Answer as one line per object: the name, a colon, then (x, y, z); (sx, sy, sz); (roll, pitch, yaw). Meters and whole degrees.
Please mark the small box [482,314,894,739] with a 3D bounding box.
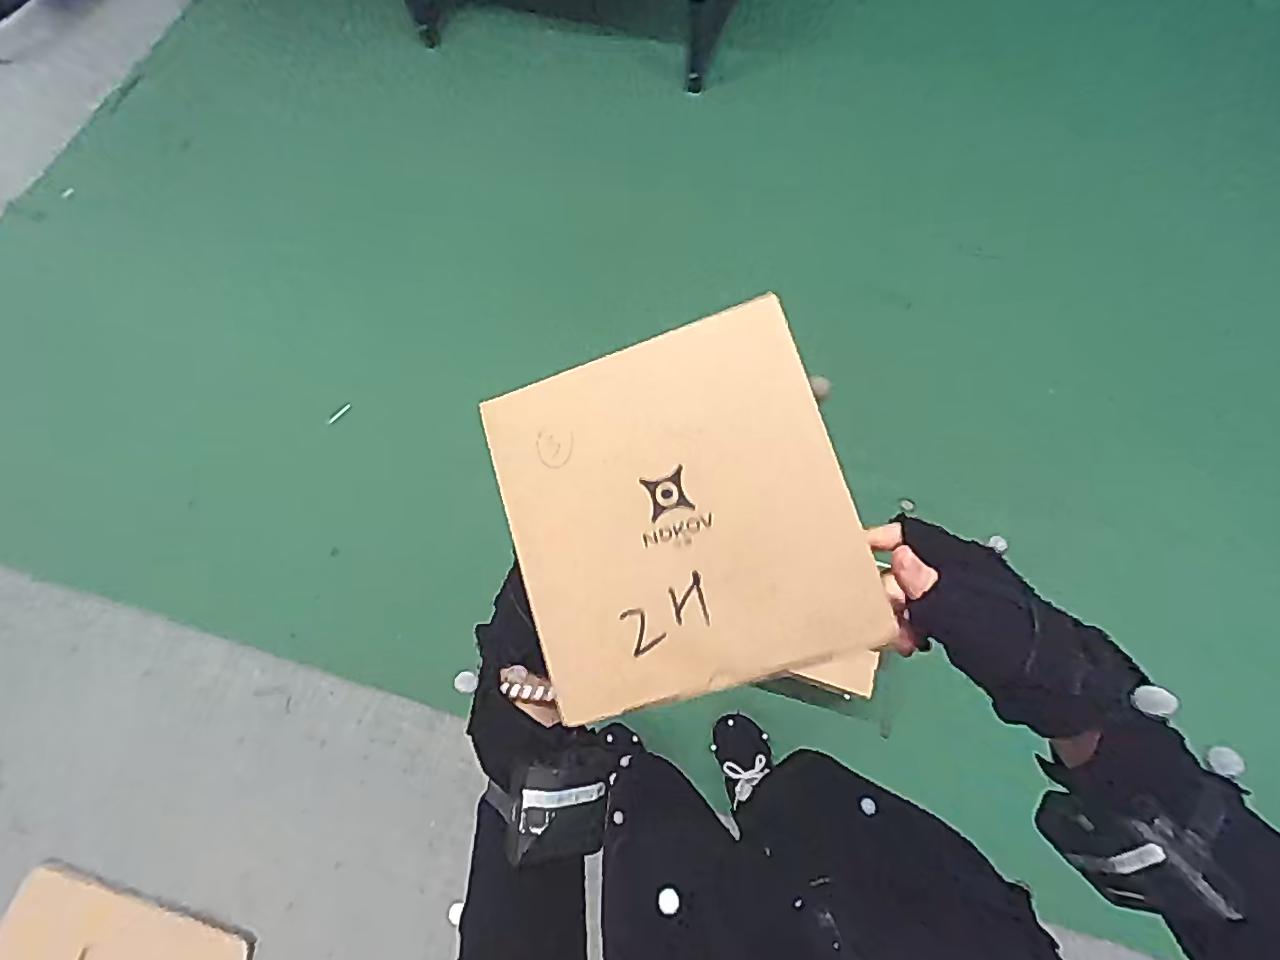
small box: (0.028, 0.029, 0.341); (0.168, 0.176, 0.179); (-17, 83, 9)
